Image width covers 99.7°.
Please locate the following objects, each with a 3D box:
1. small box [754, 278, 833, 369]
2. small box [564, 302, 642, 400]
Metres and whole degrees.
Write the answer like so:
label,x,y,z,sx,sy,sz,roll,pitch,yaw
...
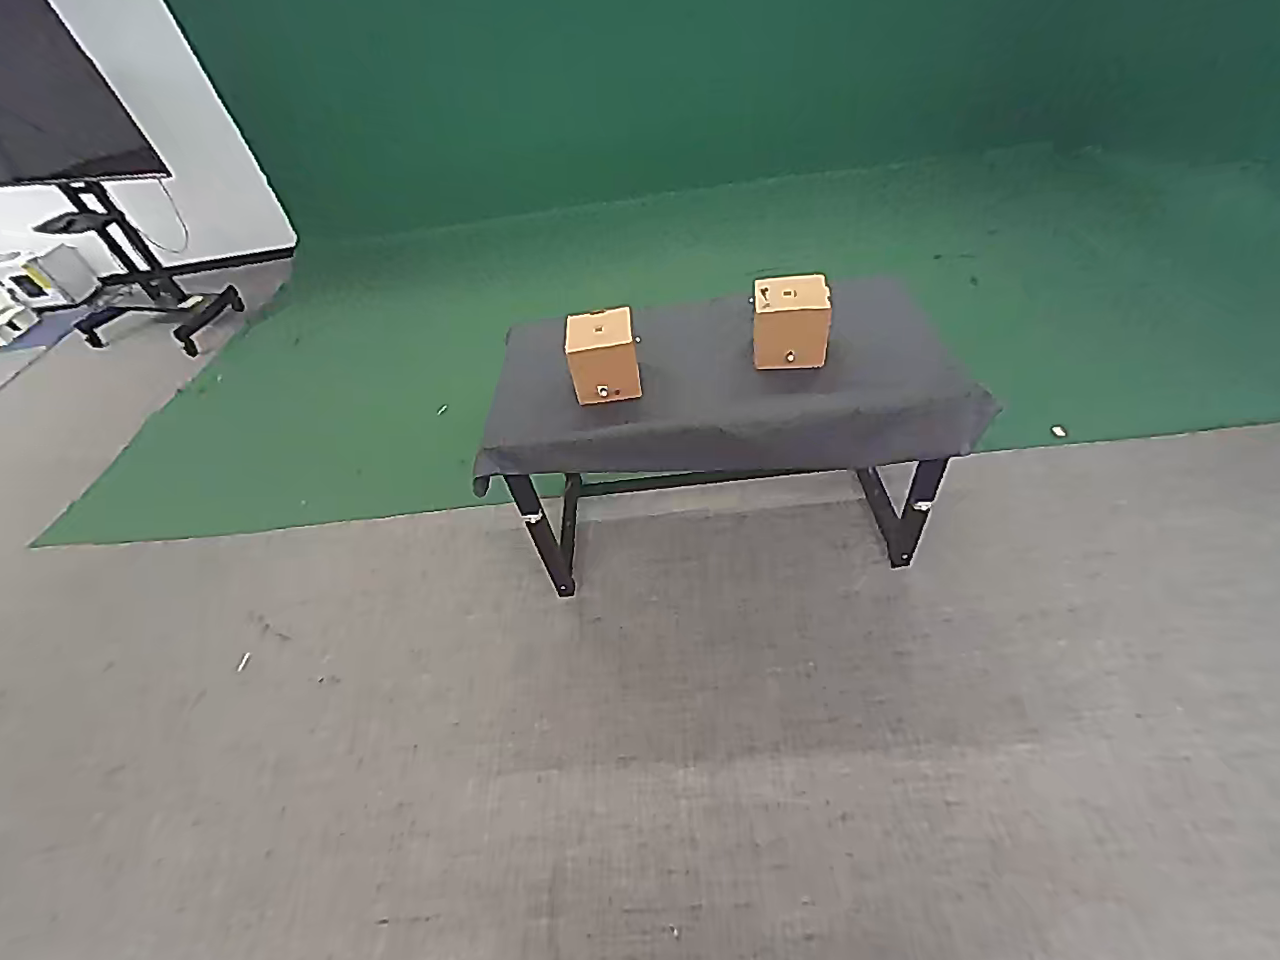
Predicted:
label,x,y,z,sx,sy,sz,roll,pitch,yaw
small box,0.388,-0.401,1.394,0.179,0.176,0.168,1,47,10
small box,-0.090,-0.330,1.394,0.168,0.176,0.179,-8,46,6
